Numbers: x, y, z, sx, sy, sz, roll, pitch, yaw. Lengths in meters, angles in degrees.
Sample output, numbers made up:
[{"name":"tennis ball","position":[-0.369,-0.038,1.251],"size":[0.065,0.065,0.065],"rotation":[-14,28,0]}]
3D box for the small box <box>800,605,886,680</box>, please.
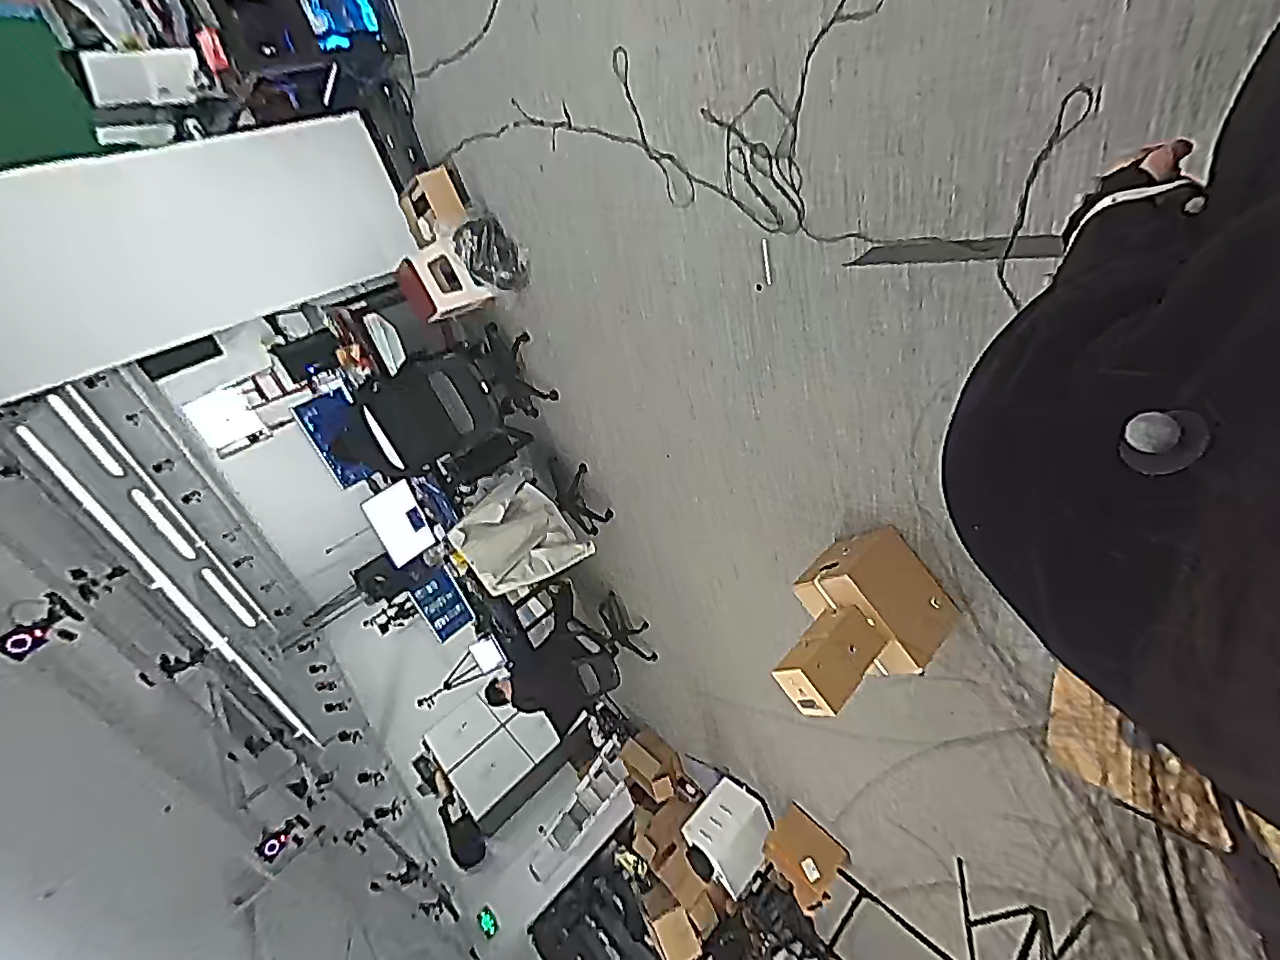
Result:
[{"name":"small box","position":[0.693,0.552,1.838],"size":[0.179,0.176,0.168],"rotation":[53,150,6]}]
